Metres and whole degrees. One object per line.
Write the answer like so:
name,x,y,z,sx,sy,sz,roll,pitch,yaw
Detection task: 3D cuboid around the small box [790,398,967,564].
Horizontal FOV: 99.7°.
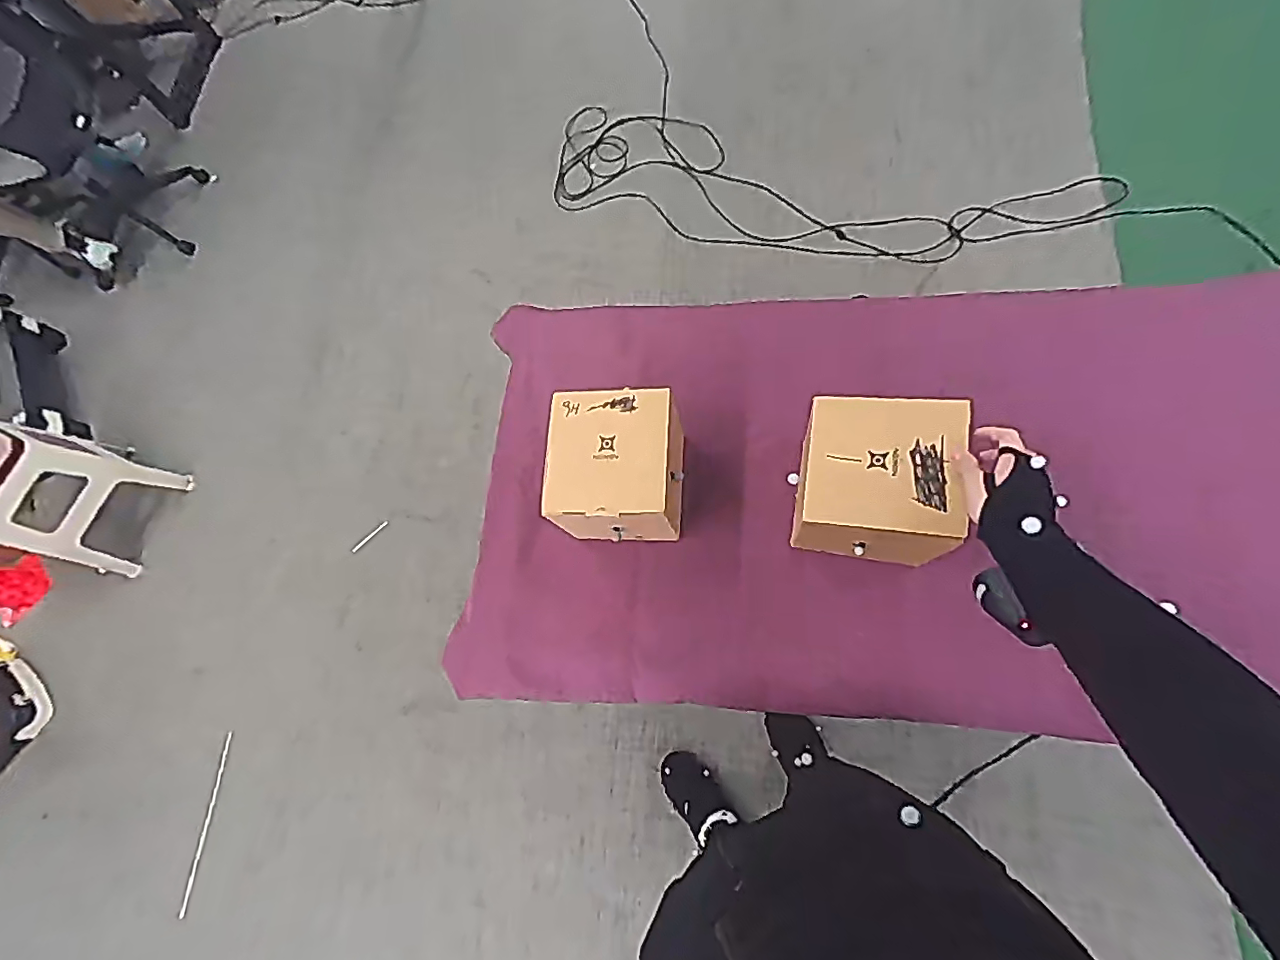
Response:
small box,0.300,0.009,0.707,0.179,0.176,0.168,7,74,15

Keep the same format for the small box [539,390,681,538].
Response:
small box,-0.032,-0.014,0.780,0.168,0.176,0.179,0,74,11
